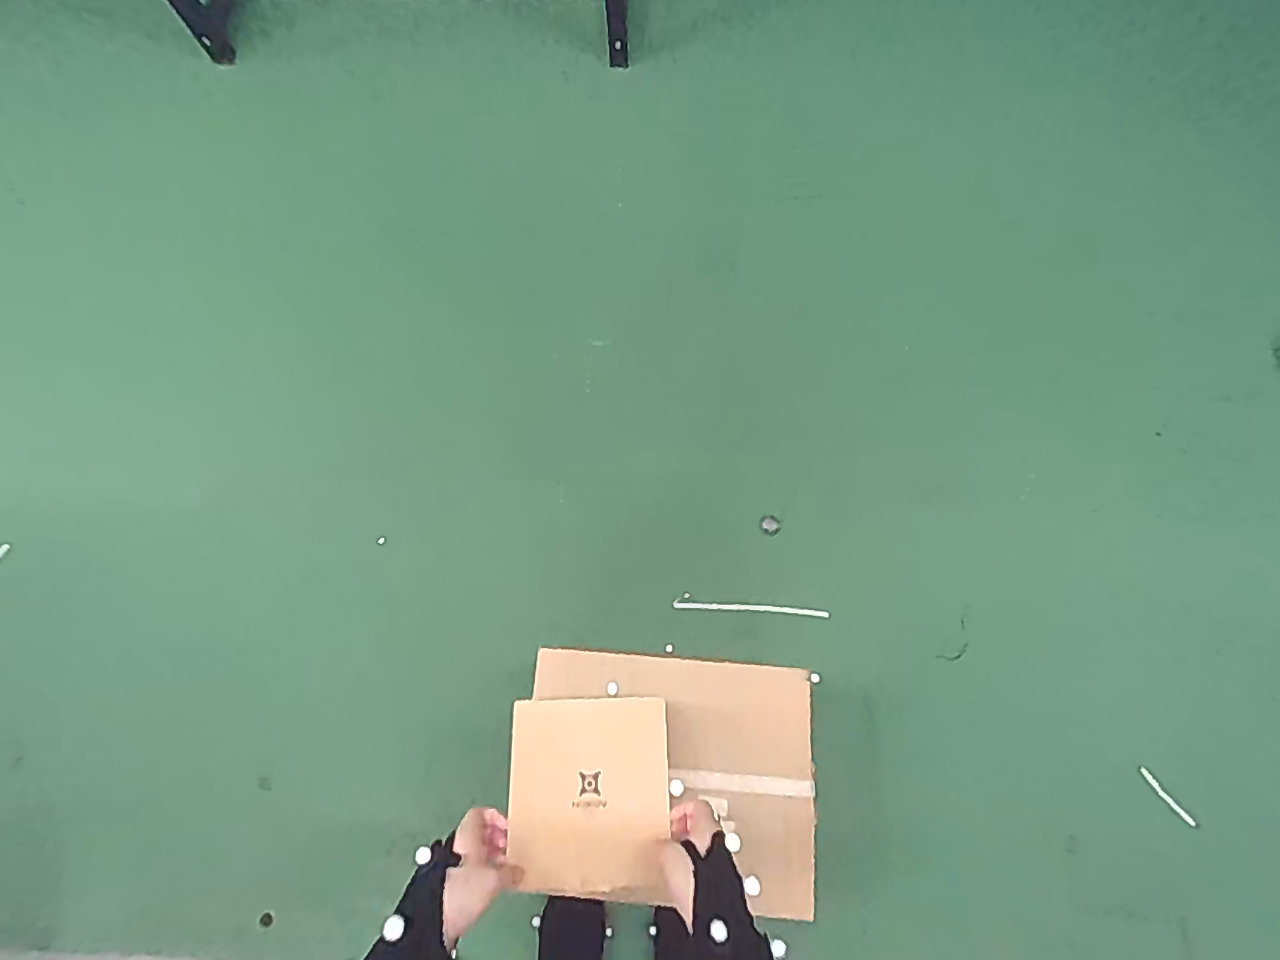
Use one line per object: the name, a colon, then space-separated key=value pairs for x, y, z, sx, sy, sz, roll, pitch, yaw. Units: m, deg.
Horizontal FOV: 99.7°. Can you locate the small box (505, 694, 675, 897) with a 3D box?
small box: x=-0.051 y=0.340 z=0.617 sx=0.168 sy=0.176 sz=0.179 roll=-2 pitch=70 yaw=-1

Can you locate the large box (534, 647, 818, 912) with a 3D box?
large box: x=0.041 y=0.449 z=0.889 sx=0.408 sy=0.320 sz=0.320 roll=4 pitch=73 yaw=2
